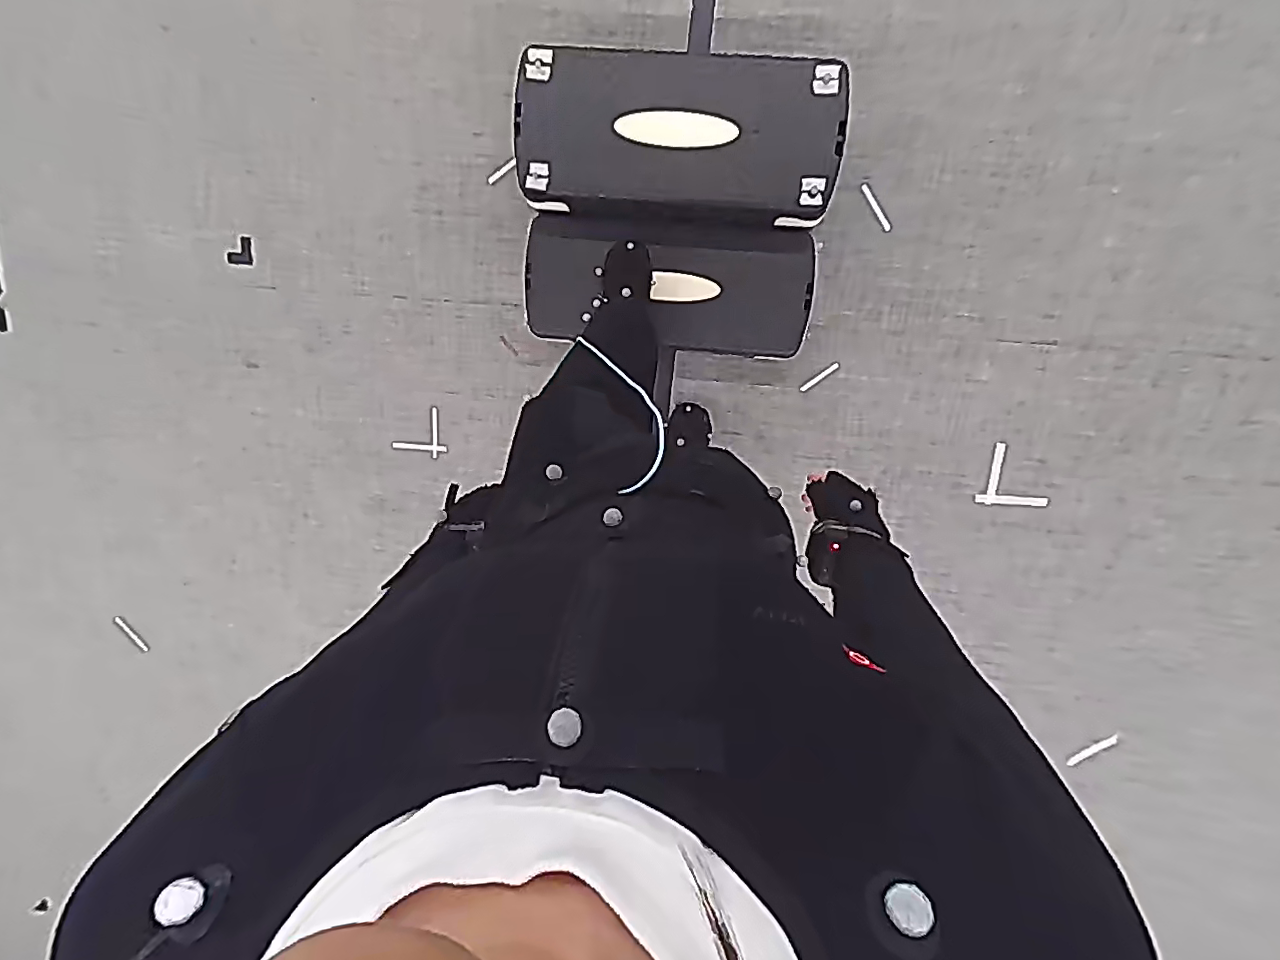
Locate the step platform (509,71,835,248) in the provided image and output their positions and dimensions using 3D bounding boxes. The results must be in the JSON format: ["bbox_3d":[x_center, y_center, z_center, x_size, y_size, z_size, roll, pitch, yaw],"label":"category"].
[{"bbox_3d":[0.063,-0.690,1.183,0.684,0.204,0.286,4,104,3],"label":"step platform"}]
